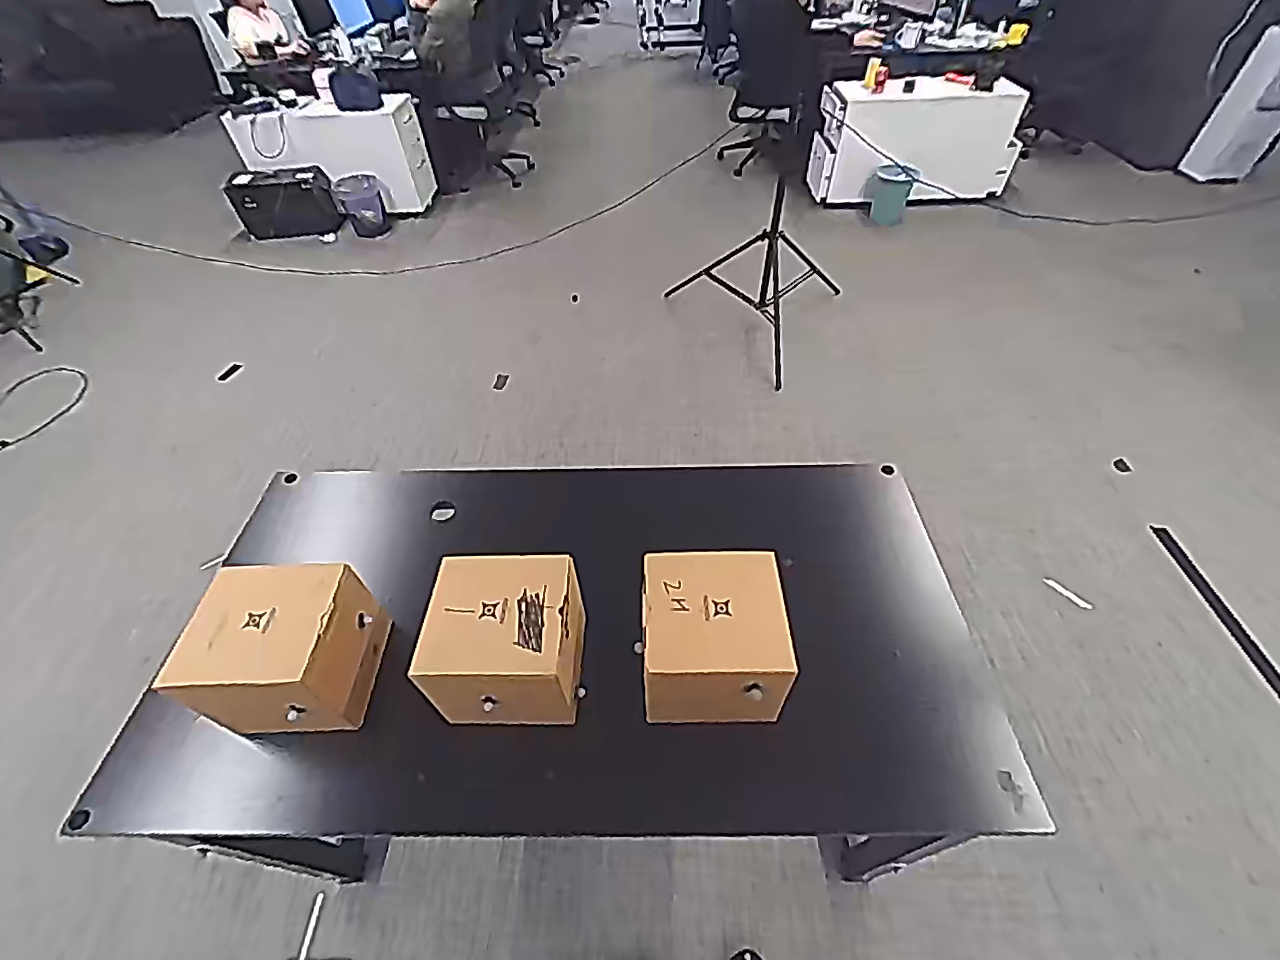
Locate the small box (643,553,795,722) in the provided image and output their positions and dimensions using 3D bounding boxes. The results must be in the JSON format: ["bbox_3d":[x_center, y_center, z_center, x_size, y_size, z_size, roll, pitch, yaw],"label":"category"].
[{"bbox_3d":[0.093,0.213,0.728,0.179,0.176,0.168,-2,48,2],"label":"small box"}]

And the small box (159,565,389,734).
[{"bbox_3d":[-0.472,0.233,0.737,0.179,0.176,0.168,-3,47,0],"label":"small box"}]

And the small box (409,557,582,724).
[{"bbox_3d":[-0.177,0.219,0.735,0.179,0.176,0.168,-1,48,3],"label":"small box"}]
